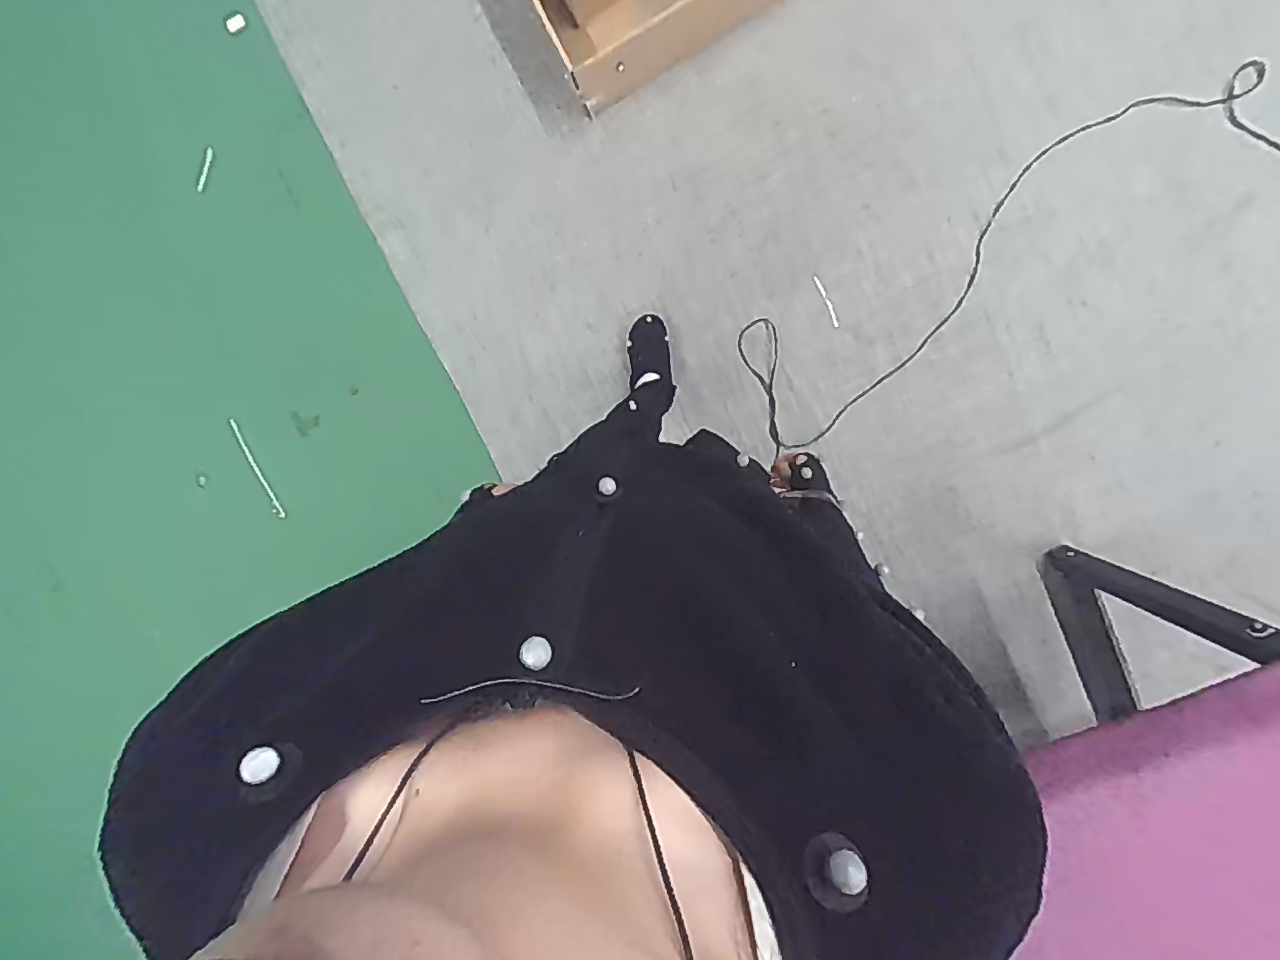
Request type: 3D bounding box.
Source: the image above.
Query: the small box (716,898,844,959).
[{"bbox_3d":[0.216,0.761,0.776,0.179,0.176,0.168,-26,94,8],"label":"small box"}]

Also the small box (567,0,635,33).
[{"bbox_3d":[-0.105,-1.166,1.205,0.179,0.176,0.168,-31,96,7],"label":"small box"}]
